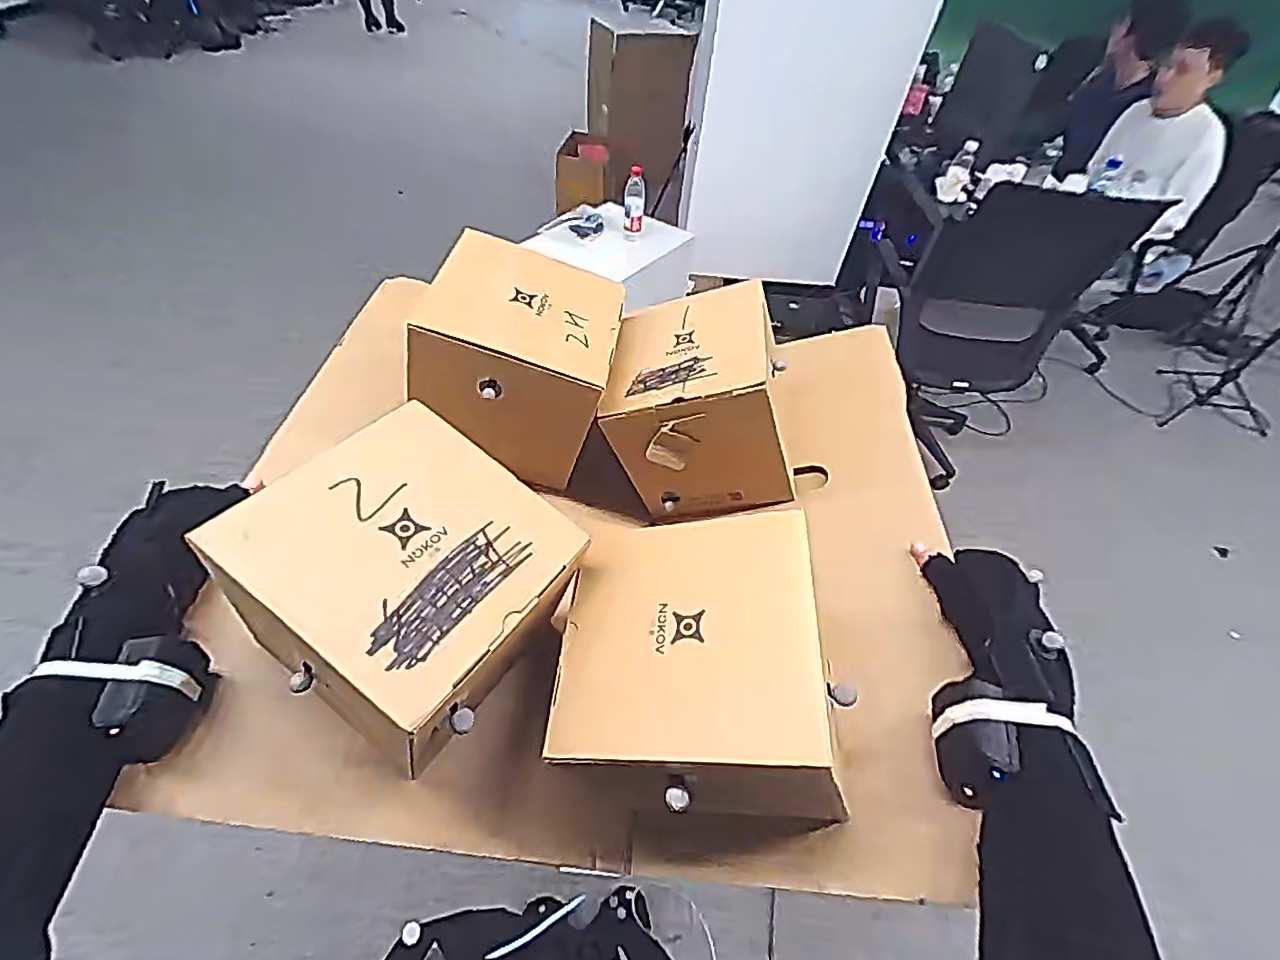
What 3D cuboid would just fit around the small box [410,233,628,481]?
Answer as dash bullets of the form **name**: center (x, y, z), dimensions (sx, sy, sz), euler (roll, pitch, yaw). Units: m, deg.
- **small box**: center (-0.129, -0.122, 0.580), dimensions (0.179, 0.176, 0.168), euler (17, 51, -11)
